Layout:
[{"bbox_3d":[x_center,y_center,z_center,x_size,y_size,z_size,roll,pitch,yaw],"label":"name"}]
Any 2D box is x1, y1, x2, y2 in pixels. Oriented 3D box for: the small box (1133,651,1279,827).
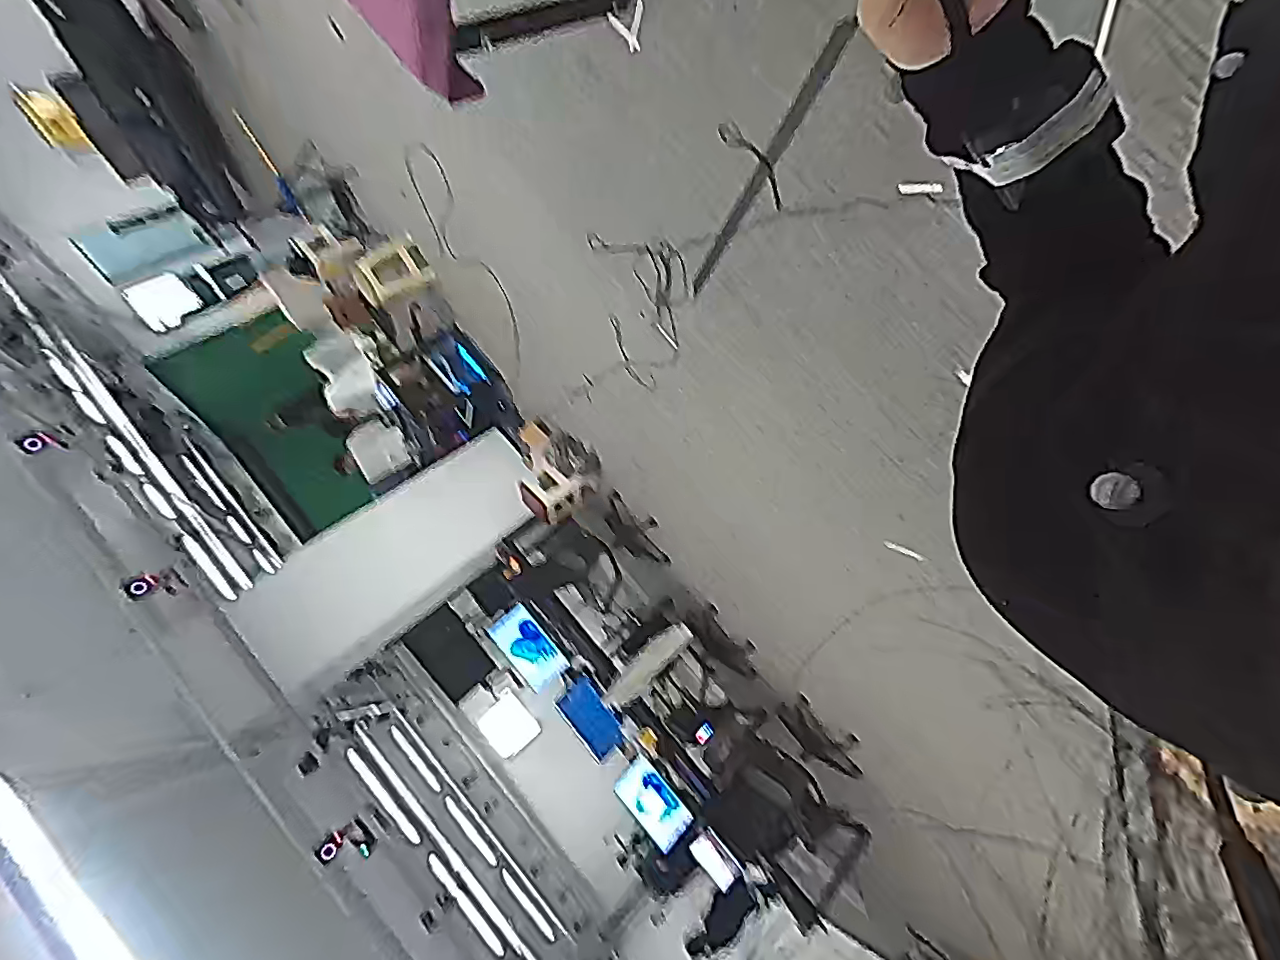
[{"bbox_3d":[0.897,0.375,0.792,0.179,0.176,0.168,49,155,5],"label":"small box"}]
